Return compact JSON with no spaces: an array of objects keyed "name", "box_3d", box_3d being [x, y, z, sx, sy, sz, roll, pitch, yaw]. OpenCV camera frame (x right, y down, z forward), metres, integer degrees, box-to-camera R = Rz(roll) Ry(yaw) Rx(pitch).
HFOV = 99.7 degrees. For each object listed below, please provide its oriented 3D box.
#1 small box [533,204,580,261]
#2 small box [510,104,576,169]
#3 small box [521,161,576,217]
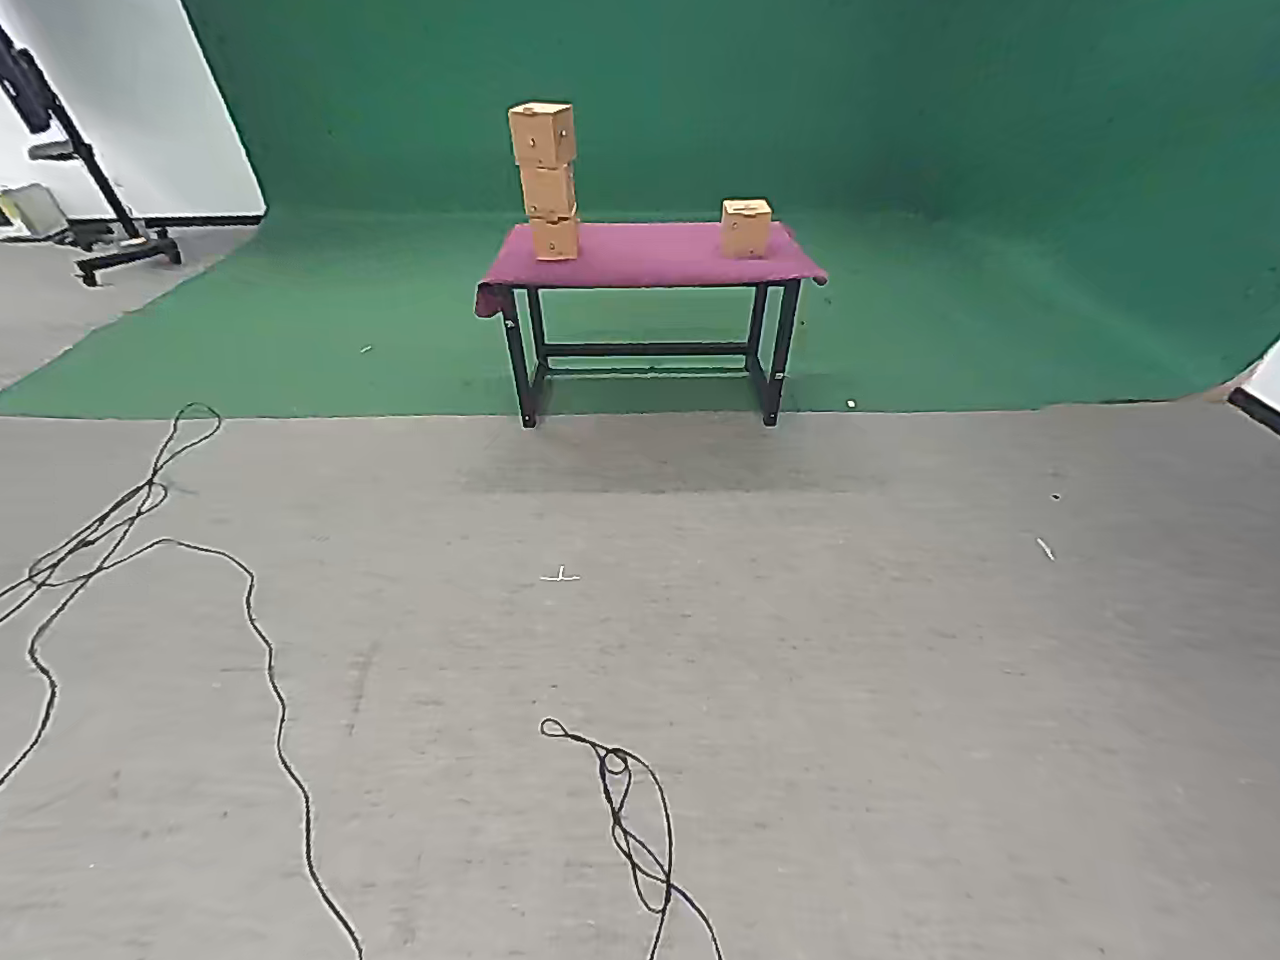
[{"name":"small box","box_3d":[-0.328,-0.992,2.161,0.168,0.176,0.179,-1,42,-1]},{"name":"small box","box_3d":[-0.338,-1.227,1.932,0.168,0.176,0.179,14,45,14]},{"name":"small box","box_3d":[-0.338,-1.103,2.040,0.168,0.176,0.179,2,42,2]}]
